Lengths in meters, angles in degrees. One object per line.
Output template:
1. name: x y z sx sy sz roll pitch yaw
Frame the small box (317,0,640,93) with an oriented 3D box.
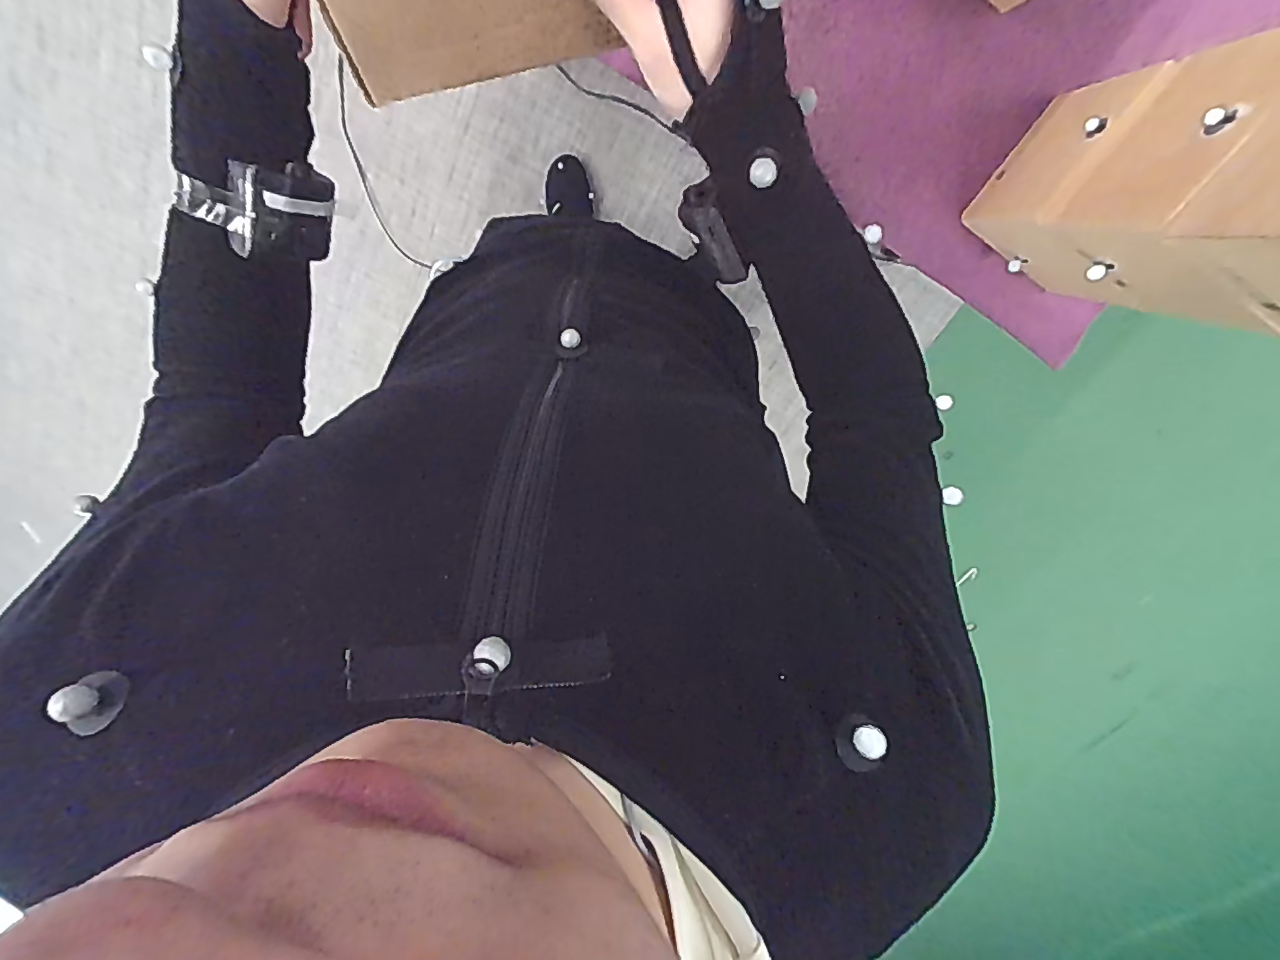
1. small box: -0.086 -0.316 0.230 0.176 0.179 0.168 -19 96 -8

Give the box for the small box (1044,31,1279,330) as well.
1. small box: 0.531 -0.267 0.489 0.168 0.176 0.179 30 114 -11

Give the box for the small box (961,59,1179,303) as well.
1. small box: 0.534 -0.339 0.636 0.179 0.176 0.168 30 114 -12
